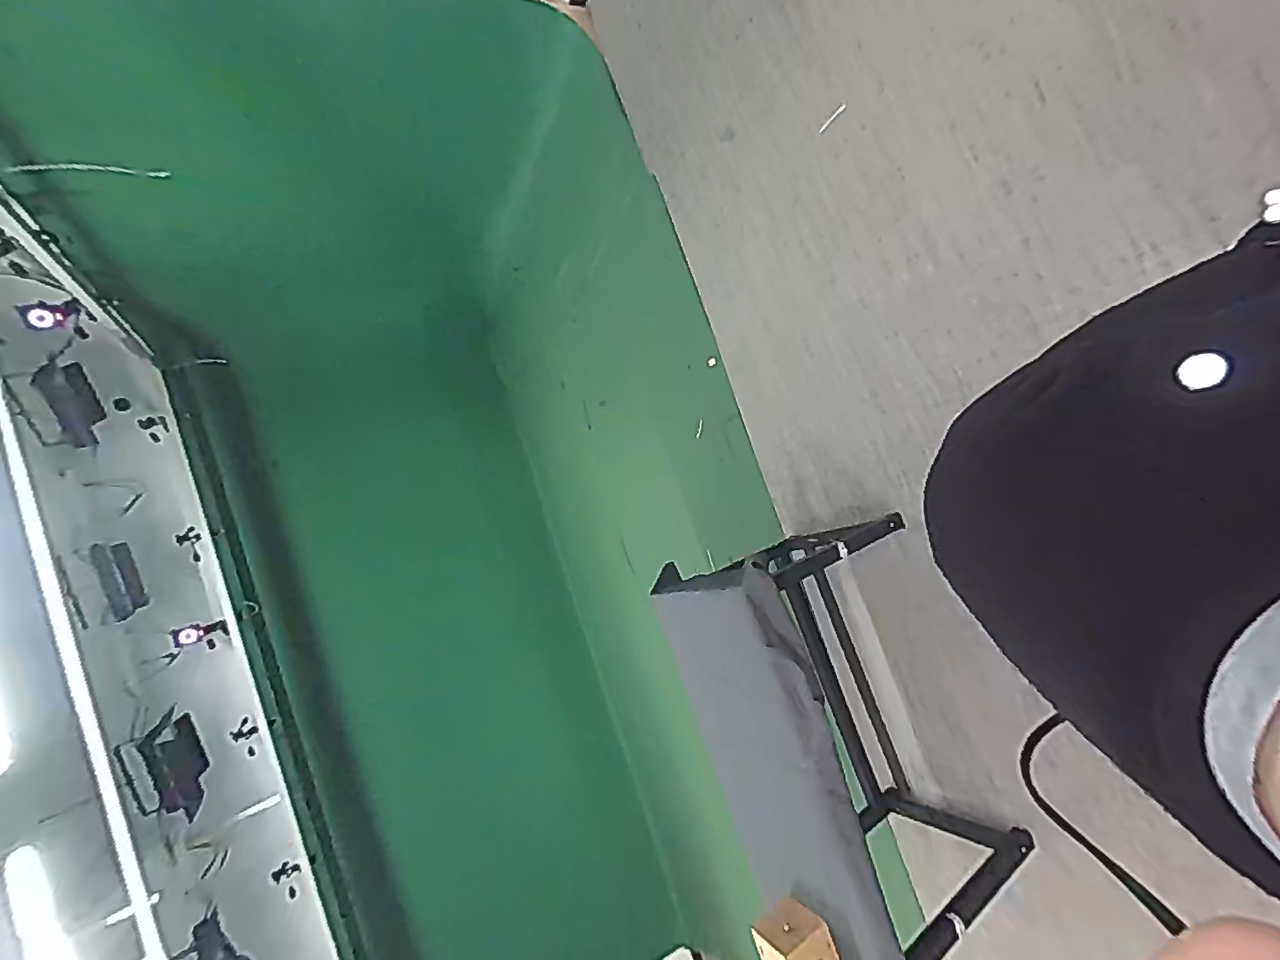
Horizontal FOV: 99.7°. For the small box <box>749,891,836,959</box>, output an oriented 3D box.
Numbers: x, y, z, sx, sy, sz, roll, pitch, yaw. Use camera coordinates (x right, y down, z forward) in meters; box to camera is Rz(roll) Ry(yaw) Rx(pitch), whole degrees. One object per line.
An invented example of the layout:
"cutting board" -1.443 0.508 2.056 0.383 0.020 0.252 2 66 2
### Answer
"small box" 0.477 1.425 1.668 0.179 0.176 0.168 -28 80 61
